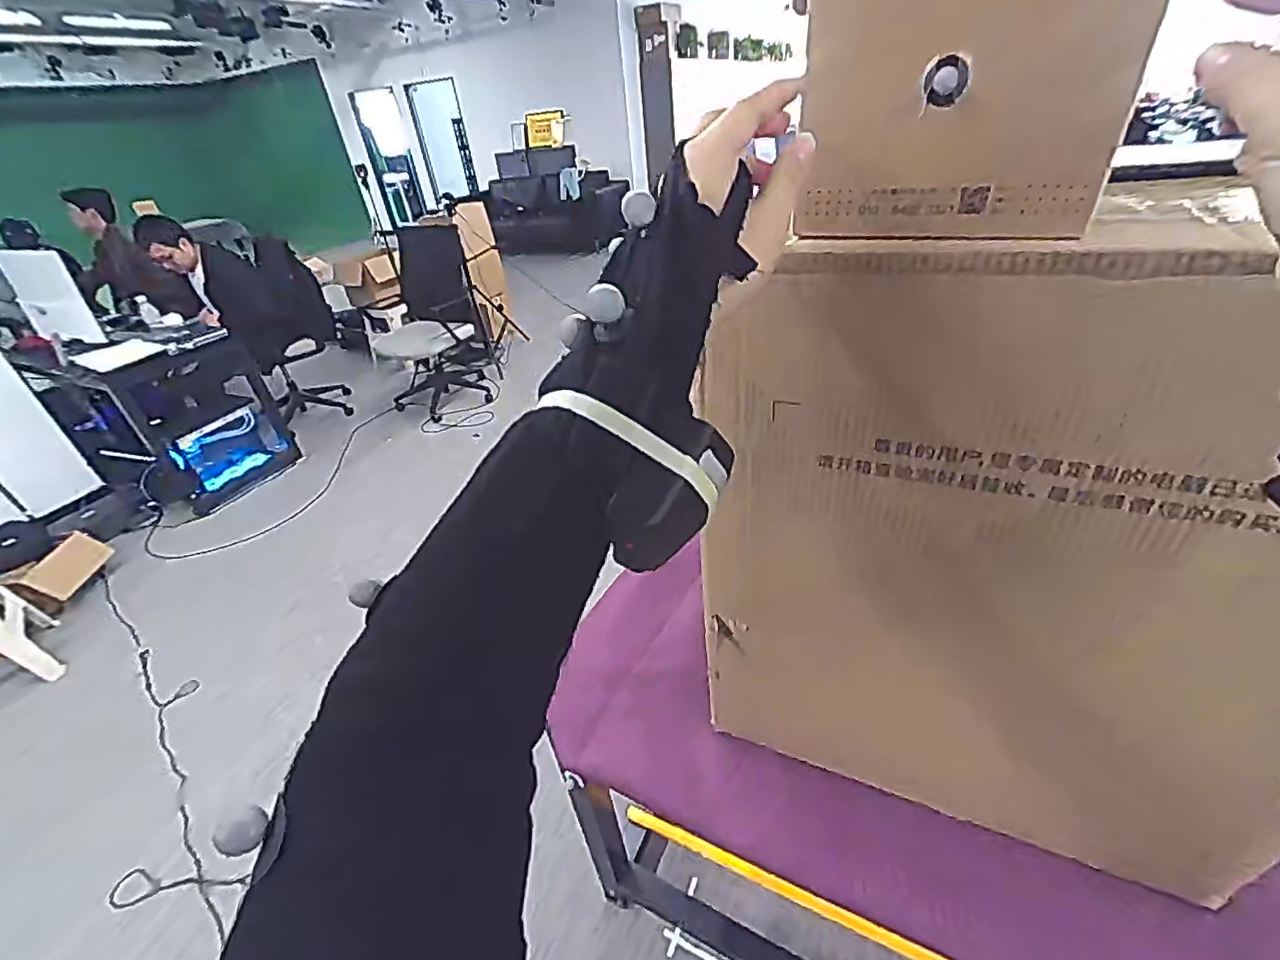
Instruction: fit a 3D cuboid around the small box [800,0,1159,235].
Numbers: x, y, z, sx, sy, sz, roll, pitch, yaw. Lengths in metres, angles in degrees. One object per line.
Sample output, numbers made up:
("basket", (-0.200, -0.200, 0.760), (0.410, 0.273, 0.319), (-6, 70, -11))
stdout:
("small box", (0.205, -0.265, 0.351), (0.168, 0.176, 0.179), (12, 39, 22))
